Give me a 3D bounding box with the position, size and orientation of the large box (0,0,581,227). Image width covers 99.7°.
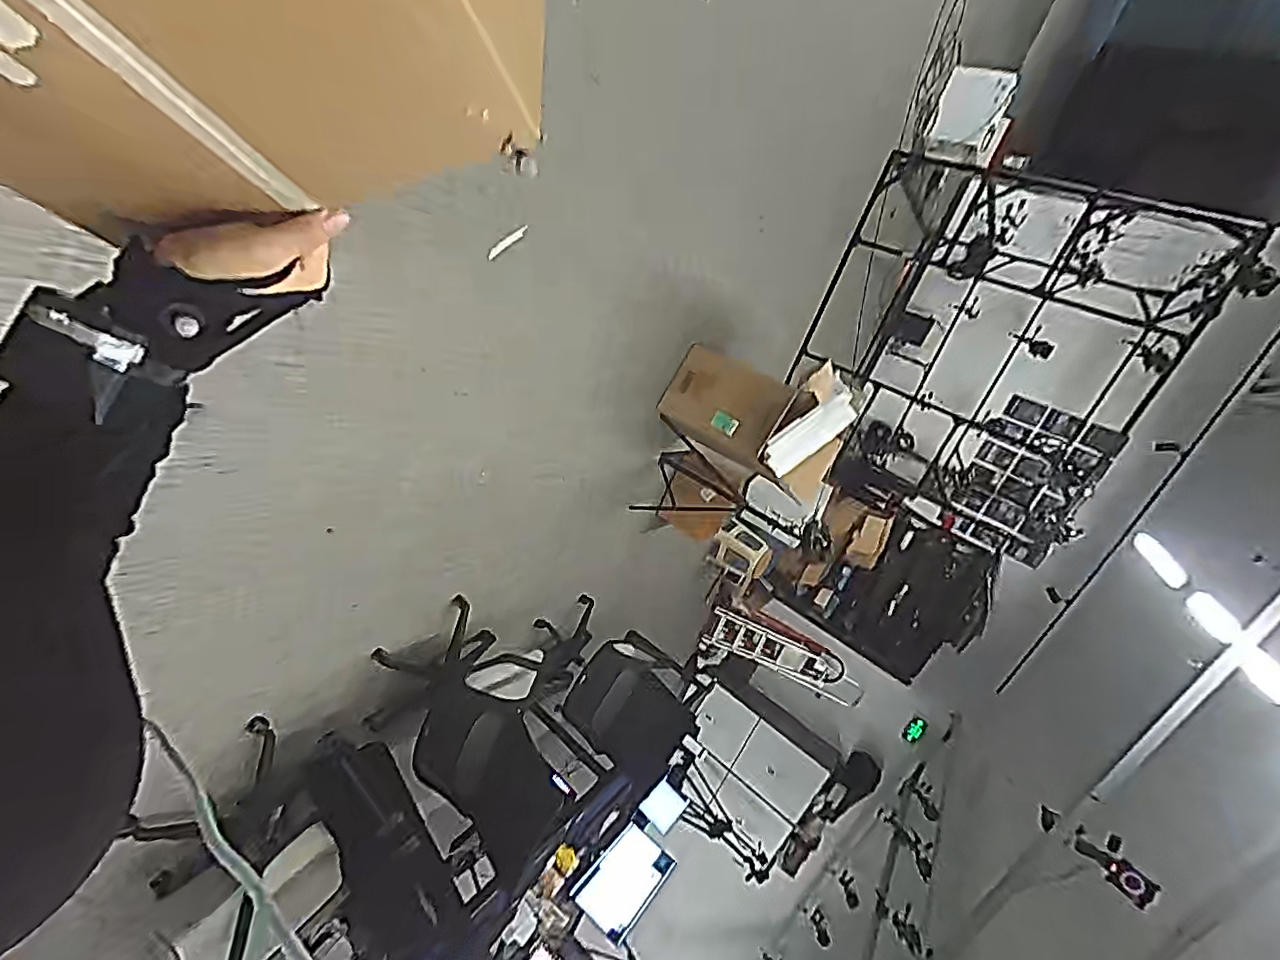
[{"bbox_3d":[-0.238,-0.376,0.180,0.408,0.320,0.320,38,50,-68],"label":"large box"}]
